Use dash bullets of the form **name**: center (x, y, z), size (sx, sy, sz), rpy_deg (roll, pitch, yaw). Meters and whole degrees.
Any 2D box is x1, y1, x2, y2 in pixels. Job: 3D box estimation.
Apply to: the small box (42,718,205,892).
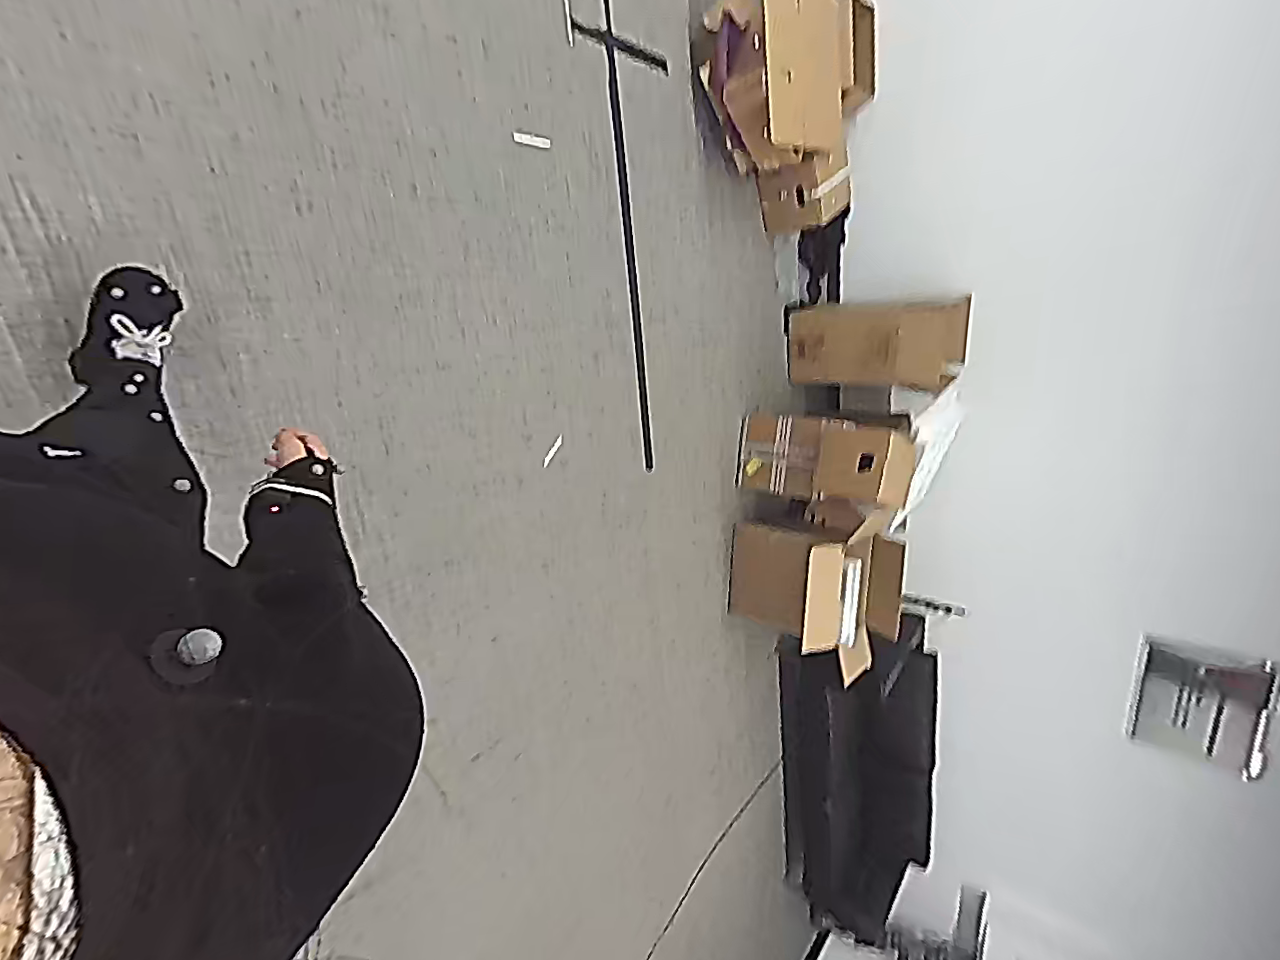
- **small box**: center (-0.940, 0.577, 0.986), size (0.179, 0.176, 0.168), rpy_deg (-22, 114, -45)
